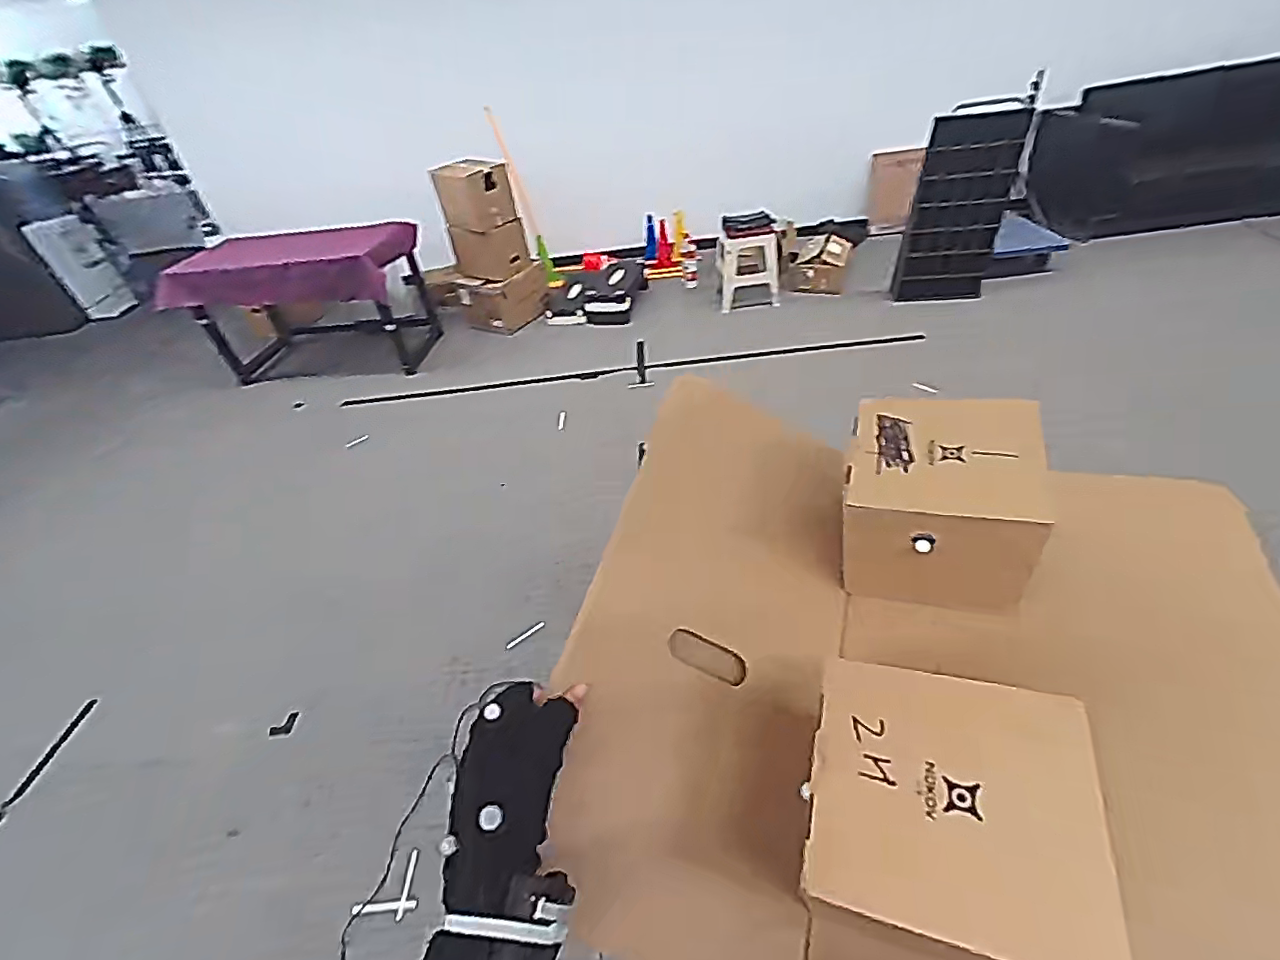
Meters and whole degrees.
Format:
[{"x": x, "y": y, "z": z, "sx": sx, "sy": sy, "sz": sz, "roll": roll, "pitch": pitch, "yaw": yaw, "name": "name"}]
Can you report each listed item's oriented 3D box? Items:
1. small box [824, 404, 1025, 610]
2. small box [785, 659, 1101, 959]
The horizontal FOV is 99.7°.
[{"x": 0.314, "y": 0.030, "z": 0.621, "sx": 0.179, "sy": 0.176, "sz": 0.168, "roll": 4, "pitch": 50, "yaw": 23, "name": "small box"}, {"x": 0.223, "y": 0.269, "z": 0.434, "sx": 0.179, "sy": 0.176, "sz": 0.168, "roll": 2, "pitch": 50, "yaw": 24, "name": "small box"}]
